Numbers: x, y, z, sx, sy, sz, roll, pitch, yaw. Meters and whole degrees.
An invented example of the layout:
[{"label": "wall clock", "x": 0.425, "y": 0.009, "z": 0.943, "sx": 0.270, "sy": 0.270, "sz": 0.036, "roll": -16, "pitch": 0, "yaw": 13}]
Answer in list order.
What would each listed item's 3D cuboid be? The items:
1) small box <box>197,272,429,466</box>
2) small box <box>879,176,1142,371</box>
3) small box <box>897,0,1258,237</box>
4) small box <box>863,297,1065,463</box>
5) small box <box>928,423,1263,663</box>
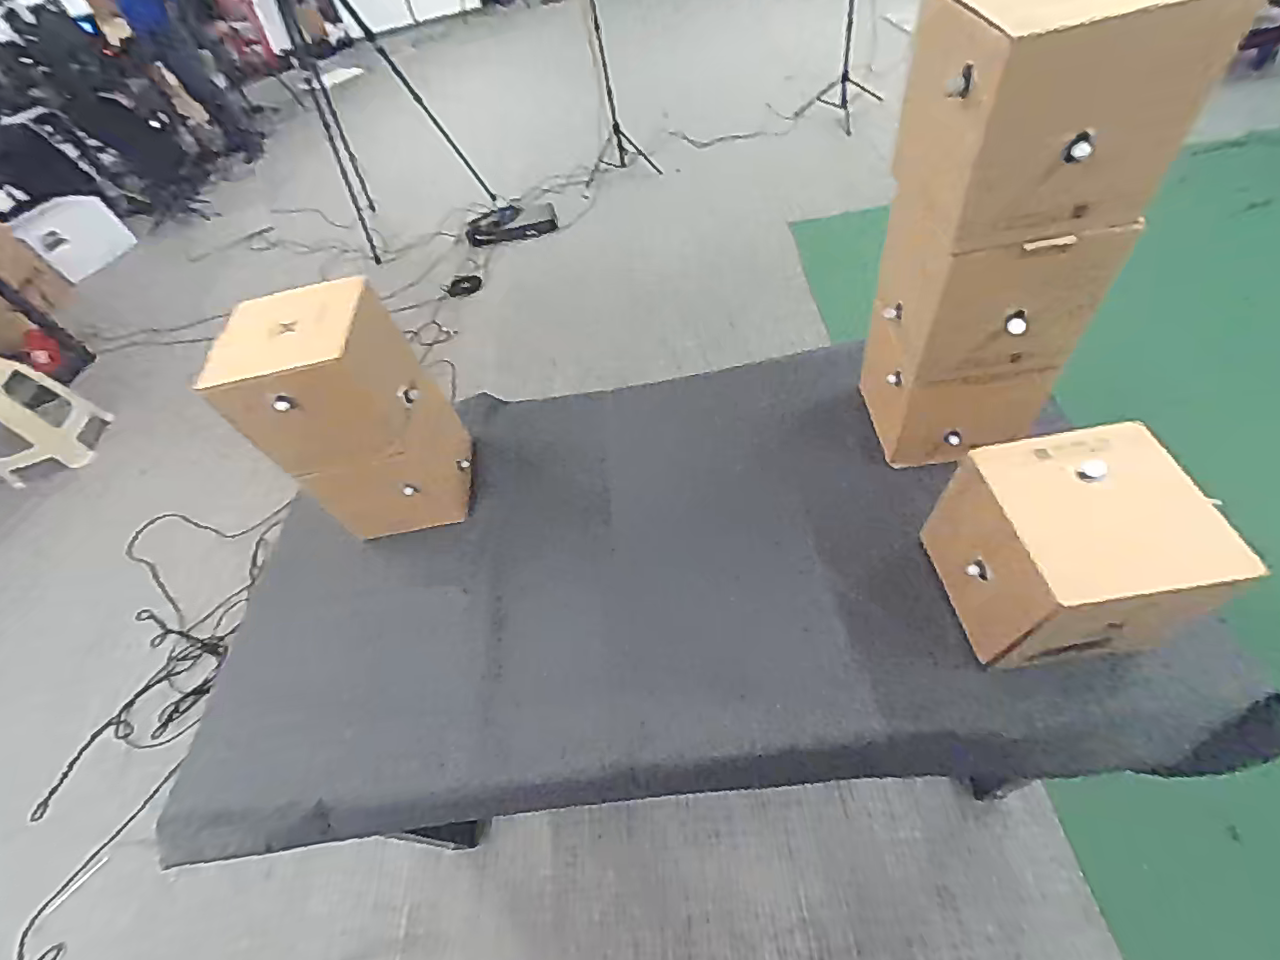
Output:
[{"label": "small box", "x": -0.403, "y": -0.137, "z": 0.704, "sx": 0.179, "sy": 0.176, "sz": 0.168, "roll": -11, "pitch": 54, "yaw": 2}, {"label": "small box", "x": 0.386, "y": -0.239, "z": 0.607, "sx": 0.168, "sy": 0.176, "sz": 0.179, "roll": -7, "pitch": 54, "yaw": 8}, {"label": "small box", "x": 0.350, "y": -0.336, "z": 0.478, "sx": 0.168, "sy": 0.176, "sz": 0.179, "roll": -8, "pitch": 52, "yaw": 7}, {"label": "small box", "x": 0.418, "y": -0.147, "z": 0.739, "sx": 0.168, "sy": 0.176, "sz": 0.179, "roll": -7, "pitch": 53, "yaw": 8}, {"label": "small box", "x": 0.423, "y": 0.068, "z": 0.549, "sx": 0.168, "sy": 0.179, "sz": 0.176, "roll": -10, "pitch": 54, "yaw": 3}]
